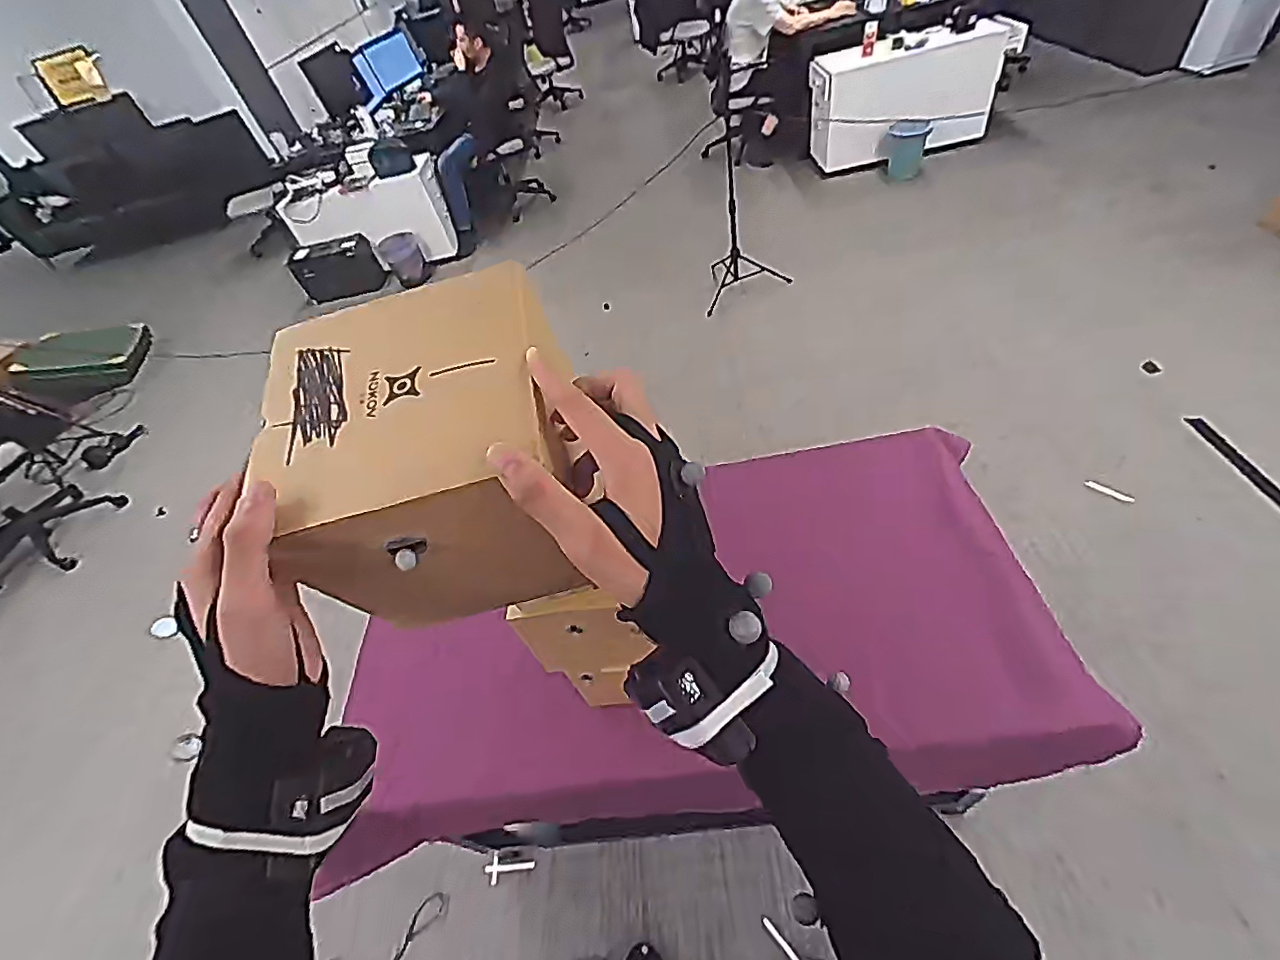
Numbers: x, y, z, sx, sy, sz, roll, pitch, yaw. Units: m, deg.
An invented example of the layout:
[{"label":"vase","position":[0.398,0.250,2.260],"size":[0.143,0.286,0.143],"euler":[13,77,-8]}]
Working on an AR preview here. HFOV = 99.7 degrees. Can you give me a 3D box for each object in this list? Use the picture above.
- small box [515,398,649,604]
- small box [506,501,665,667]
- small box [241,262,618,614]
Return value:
[{"label":"small box","position":[-0.091,0.033,0.657],"size":[0.168,0.176,0.179],"euler":[-13,46,3]},{"label":"small box","position":[-0.065,0.153,0.765],"size":[0.179,0.176,0.168],"euler":[-7,48,8]},{"label":"small box","position":[-0.128,-0.017,0.391],"size":[0.179,0.176,0.168],"euler":[-14,58,4]}]
